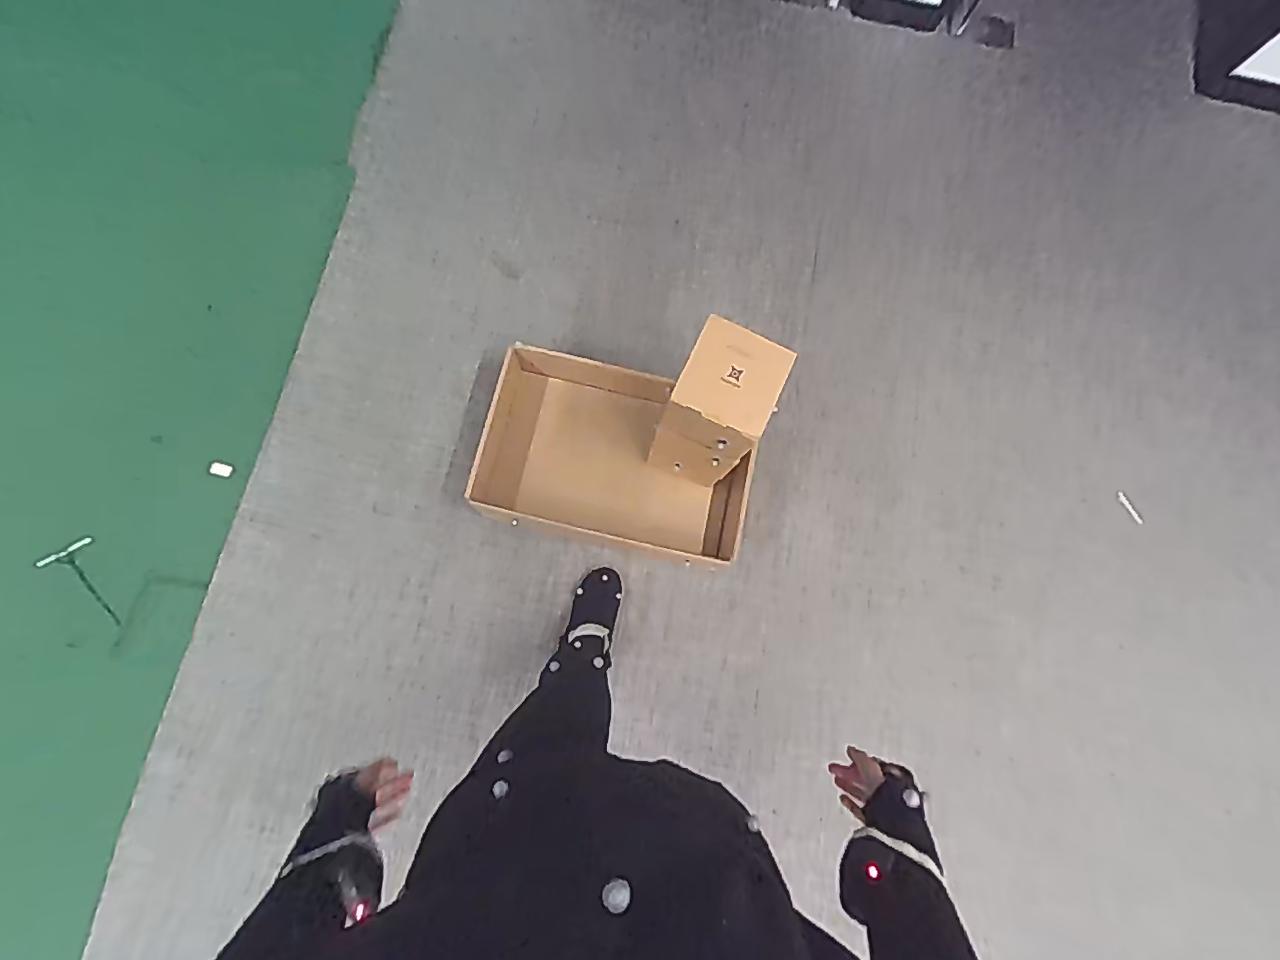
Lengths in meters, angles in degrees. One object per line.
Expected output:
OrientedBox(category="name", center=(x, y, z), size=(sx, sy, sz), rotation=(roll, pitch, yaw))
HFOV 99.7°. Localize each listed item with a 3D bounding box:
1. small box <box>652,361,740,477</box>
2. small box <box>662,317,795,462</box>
OrientedBox(category="small box", center=(0.136, -0.119, 1.136), size=(0.179, 0.176, 0.168), rotation=(24, 79, 1))
OrientedBox(category="small box", center=(0.149, -0.152, 0.976), size=(0.168, 0.176, 0.179), rotation=(27, 78, 1))
